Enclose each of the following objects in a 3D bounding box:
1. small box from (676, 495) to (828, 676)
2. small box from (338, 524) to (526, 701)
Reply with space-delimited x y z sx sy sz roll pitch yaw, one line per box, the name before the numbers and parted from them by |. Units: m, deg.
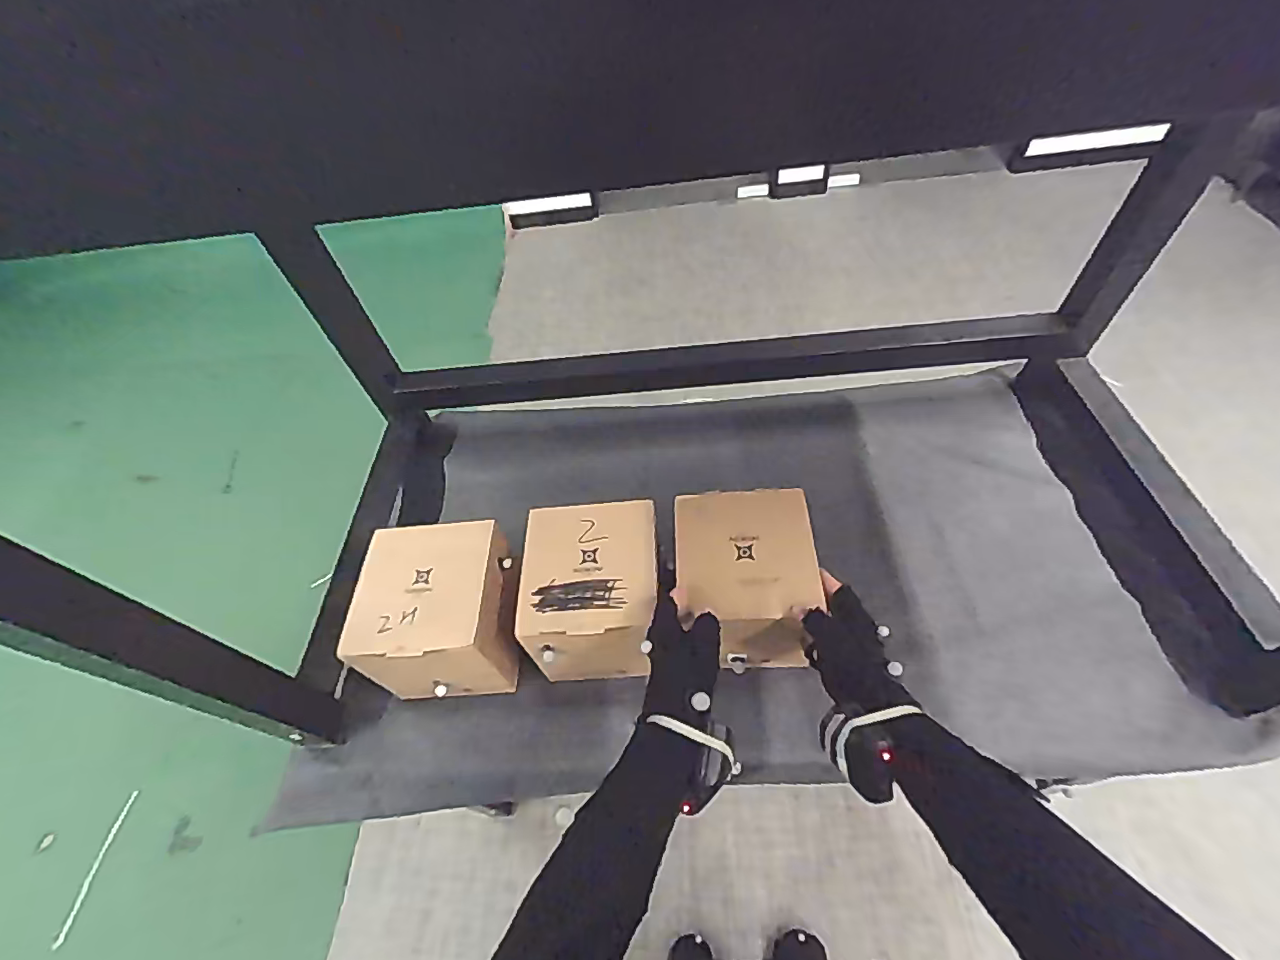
small box | 0.135 0.140 0.707 0.168 0.176 0.179 -5 53 6
small box | -0.259 0.180 0.725 0.168 0.176 0.179 -5 52 4
